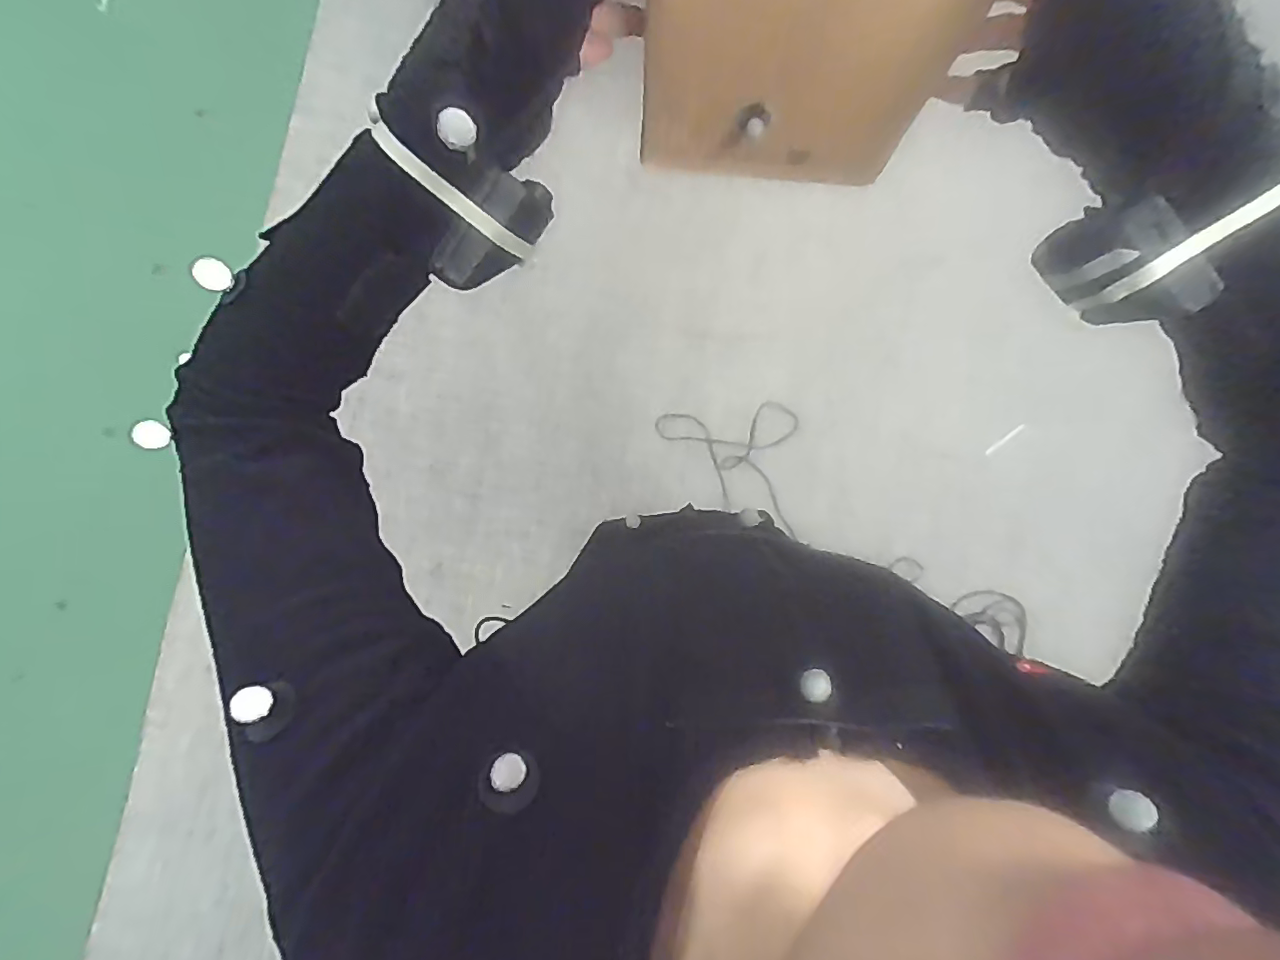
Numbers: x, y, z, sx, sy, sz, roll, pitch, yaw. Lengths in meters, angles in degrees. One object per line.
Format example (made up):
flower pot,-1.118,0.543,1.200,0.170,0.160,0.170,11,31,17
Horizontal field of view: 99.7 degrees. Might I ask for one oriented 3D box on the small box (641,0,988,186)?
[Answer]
small box,0.089,-0.311,0.315,0.168,0.176,0.179,4,84,0
